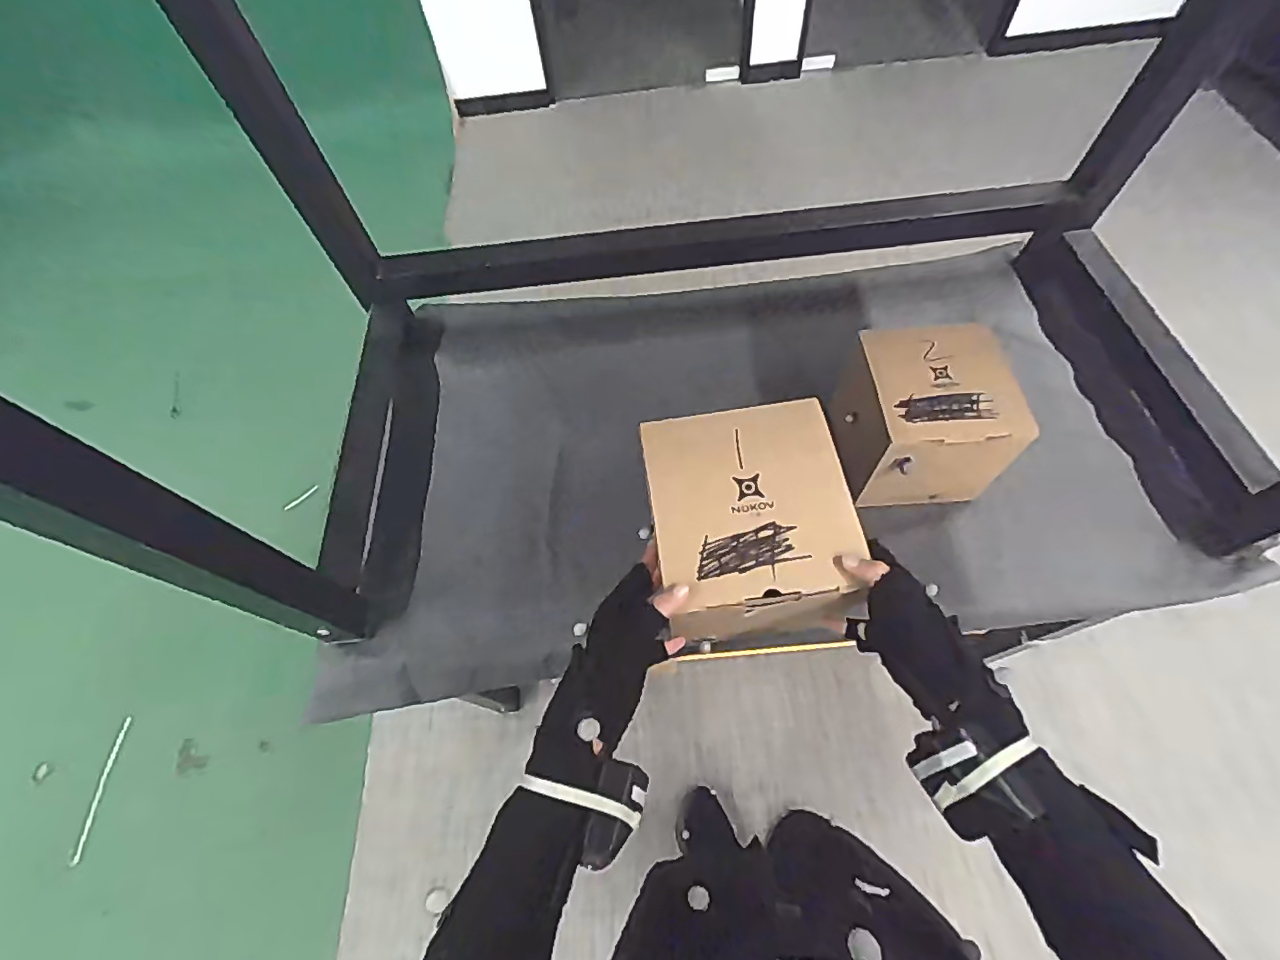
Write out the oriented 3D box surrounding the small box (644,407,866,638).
[{"bbox_3d":[0.100,0.054,0.540,0.168,0.176,0.179,-8,63,1],"label":"small box"}]
